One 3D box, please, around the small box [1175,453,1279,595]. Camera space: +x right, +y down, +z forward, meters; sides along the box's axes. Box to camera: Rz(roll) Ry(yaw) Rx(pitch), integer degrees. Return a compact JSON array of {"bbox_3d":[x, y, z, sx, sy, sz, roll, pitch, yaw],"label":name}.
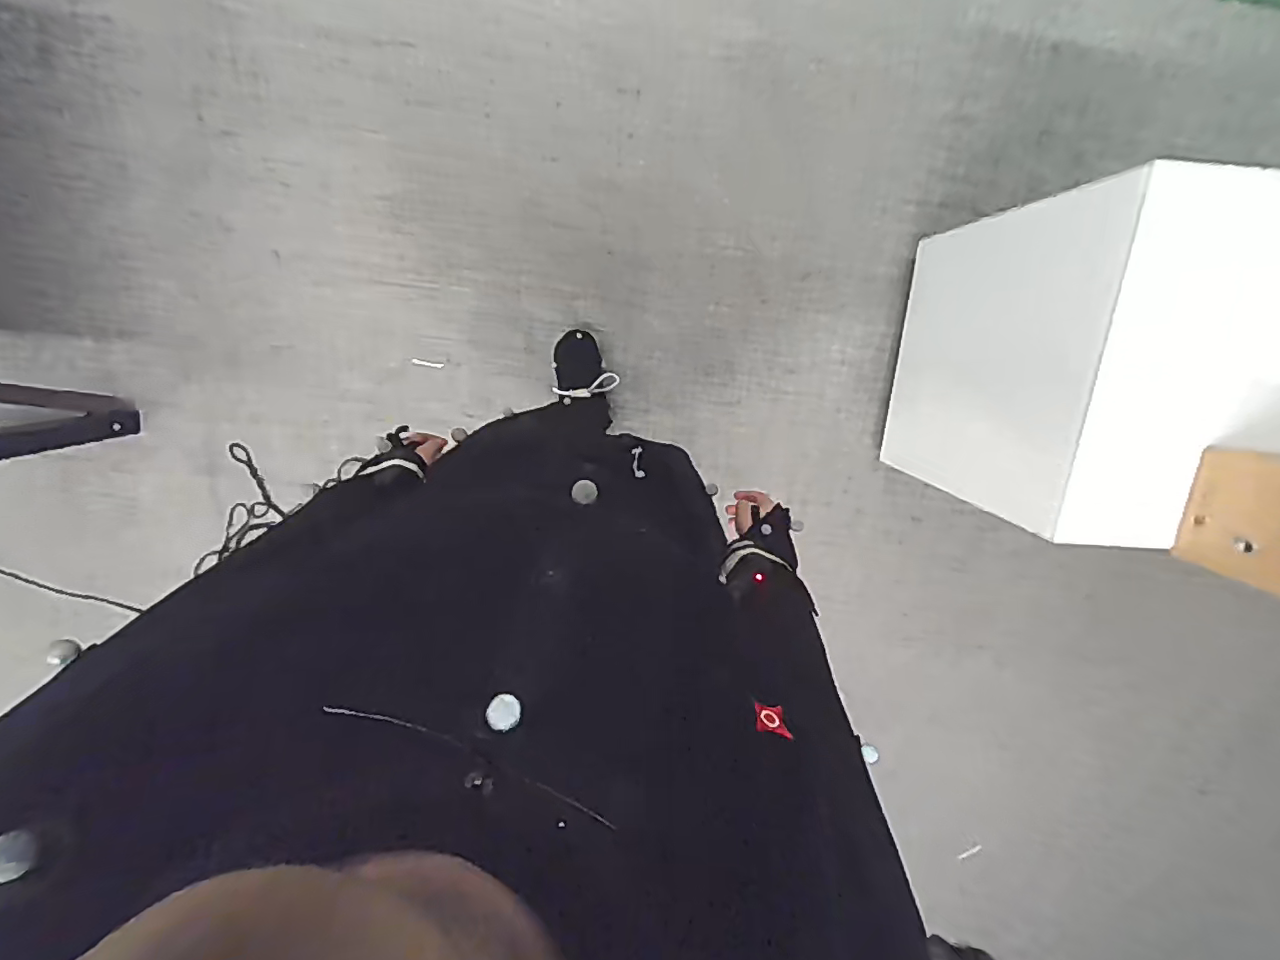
[{"bbox_3d":[0.882,0.062,0.712,0.179,0.176,0.168,3,104,-3],"label":"small box"}]
